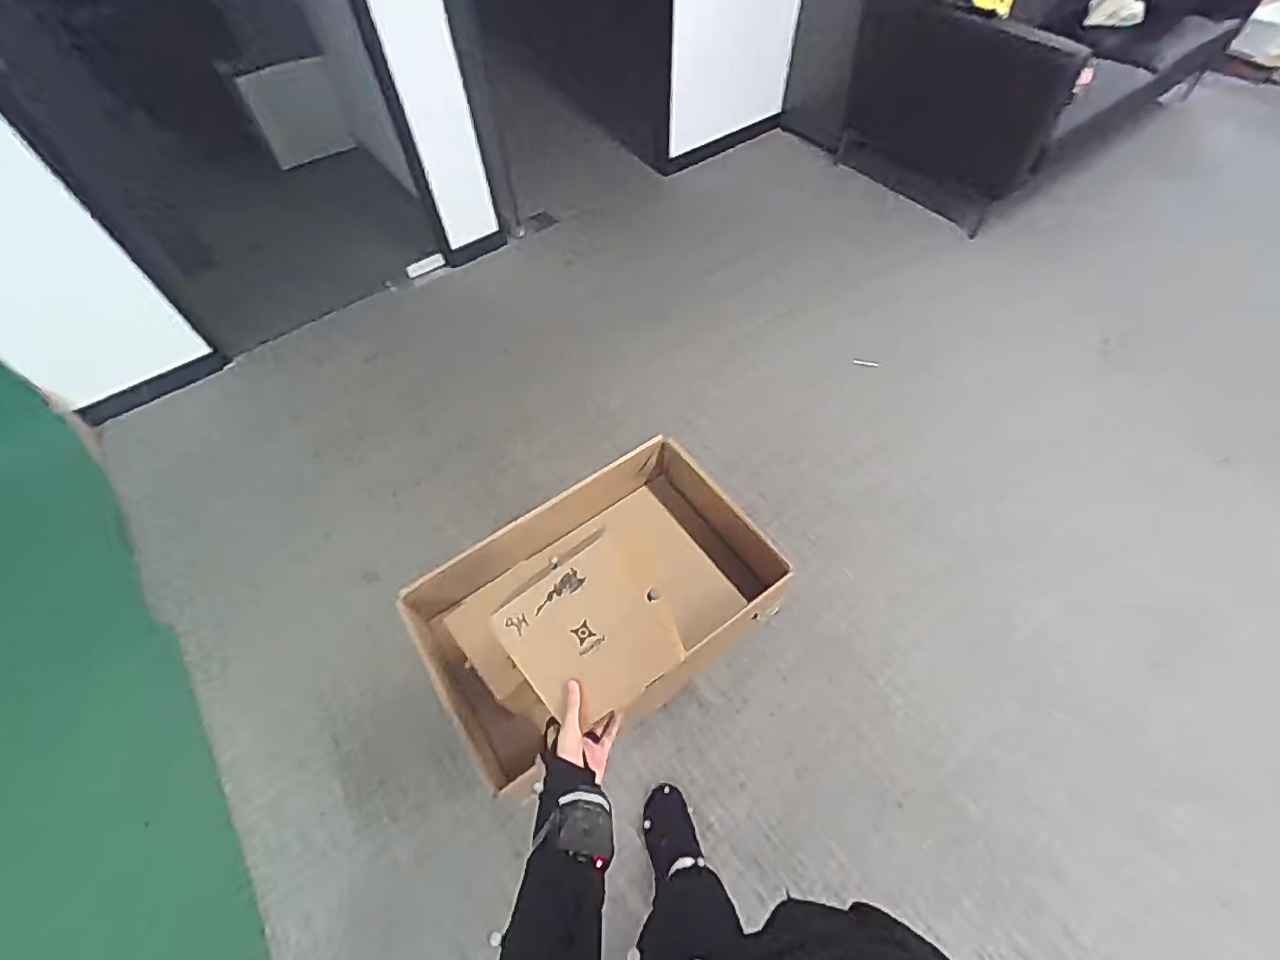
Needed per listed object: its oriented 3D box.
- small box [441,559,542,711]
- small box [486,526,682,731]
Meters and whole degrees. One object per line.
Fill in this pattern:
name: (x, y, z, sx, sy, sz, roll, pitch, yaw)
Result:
small box: (-0.216, 0.279, 0.956, 0.168, 0.176, 0.179, -36, 64, -19)
small box: (-0.066, 0.176, 0.702, 0.168, 0.176, 0.179, -35, 91, -2)
